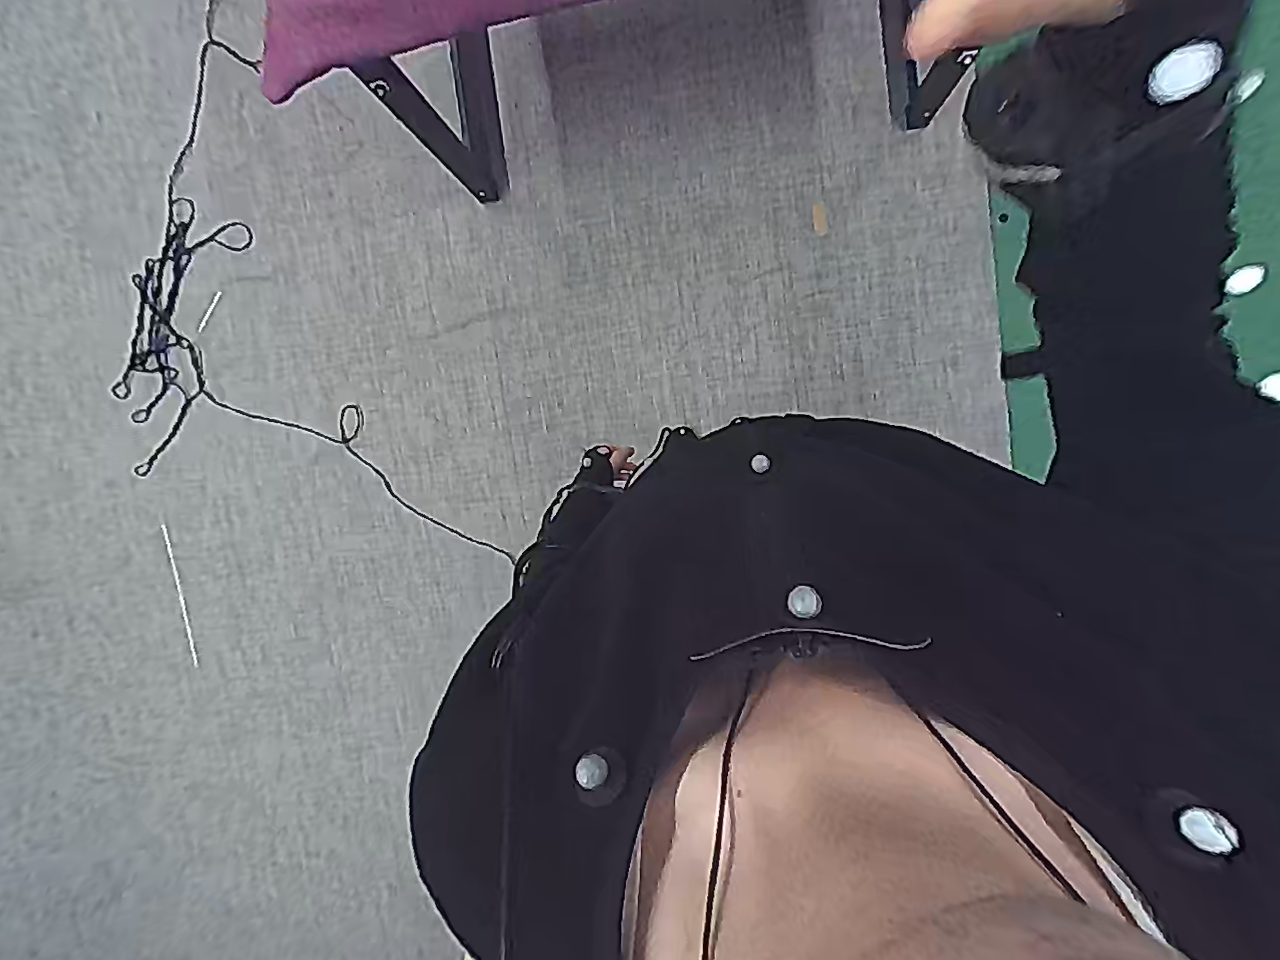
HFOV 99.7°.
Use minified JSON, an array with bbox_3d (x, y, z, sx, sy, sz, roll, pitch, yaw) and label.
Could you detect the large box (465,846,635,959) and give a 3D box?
[{"bbox_3d":[-0.258,1.325,1.516,0.408,0.320,0.320,15,97,5],"label":"large box"}]
